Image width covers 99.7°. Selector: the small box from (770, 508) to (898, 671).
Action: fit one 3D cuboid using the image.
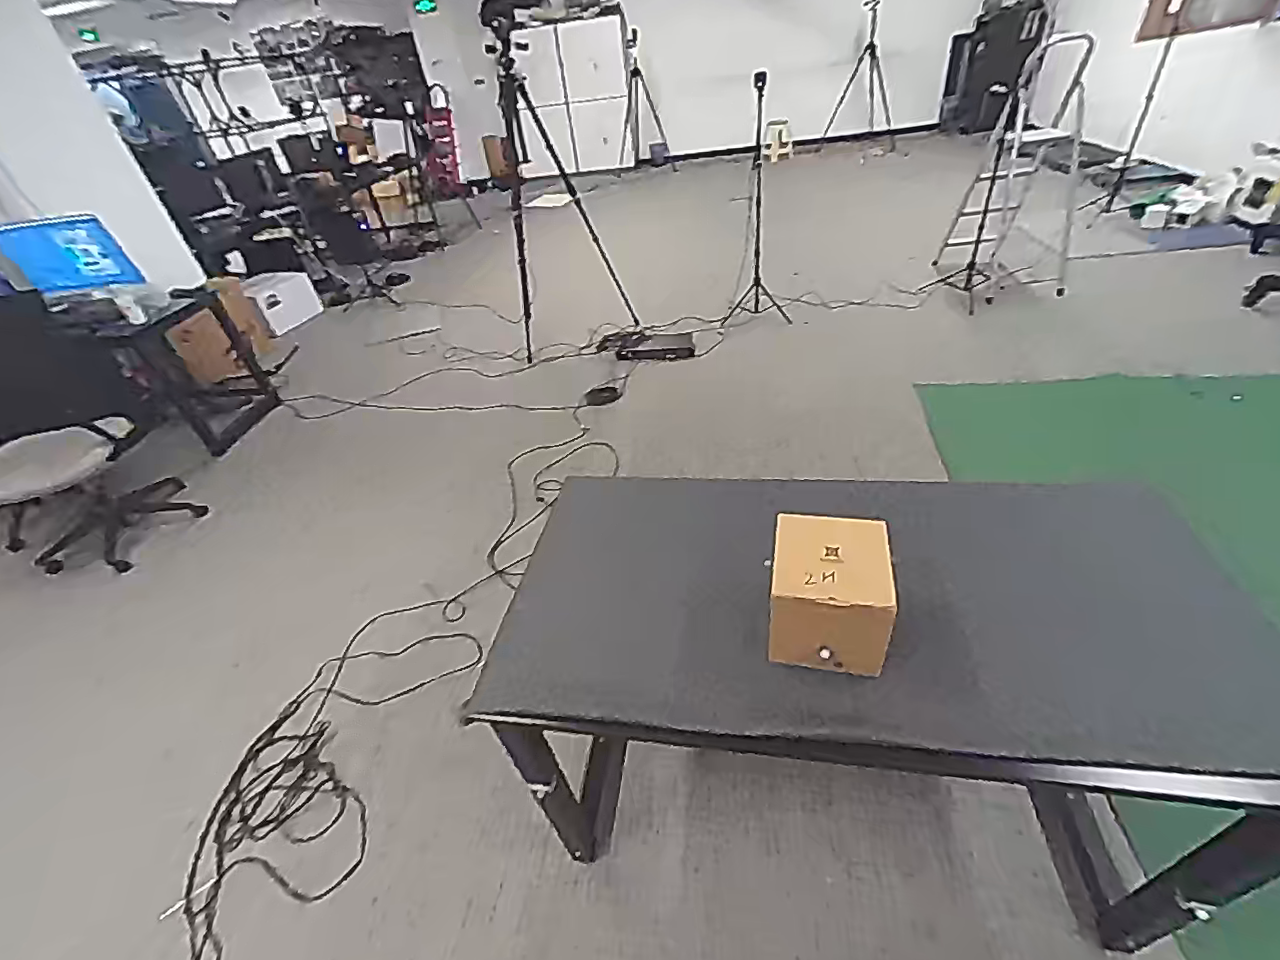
[{"bbox_3d":[0.295,0.167,0.849,0.168,0.176,0.179,3,39,16],"label":"small box"}]
